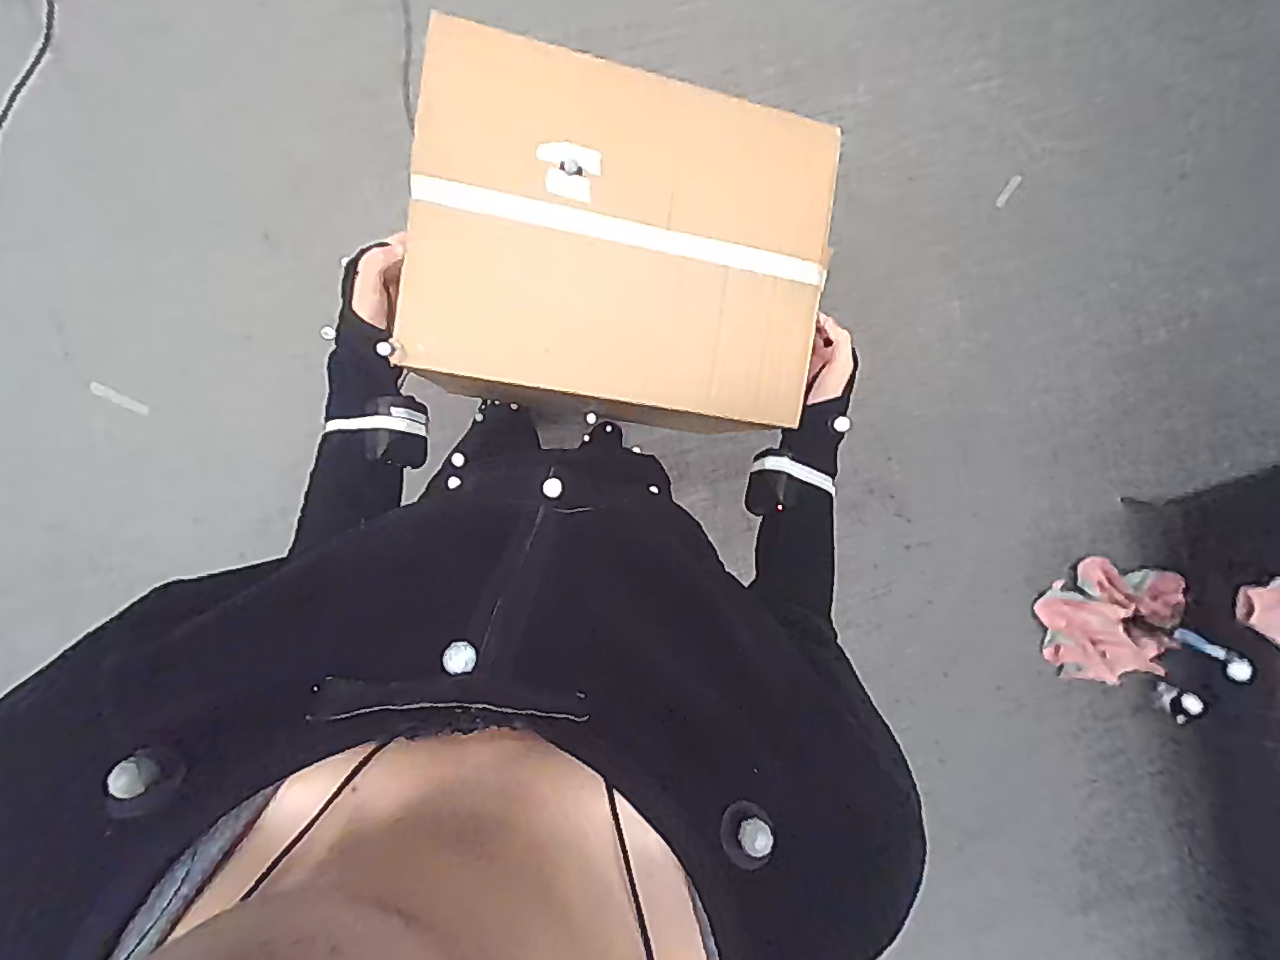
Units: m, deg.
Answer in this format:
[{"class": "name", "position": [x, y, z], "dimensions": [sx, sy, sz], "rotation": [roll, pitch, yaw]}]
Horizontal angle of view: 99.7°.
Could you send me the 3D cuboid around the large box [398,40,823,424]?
[{"class": "large box", "position": [-0.042, -0.244, 0.681], "dimensions": [0.408, 0.320, 0.320], "rotation": [6, 92, -10]}]
